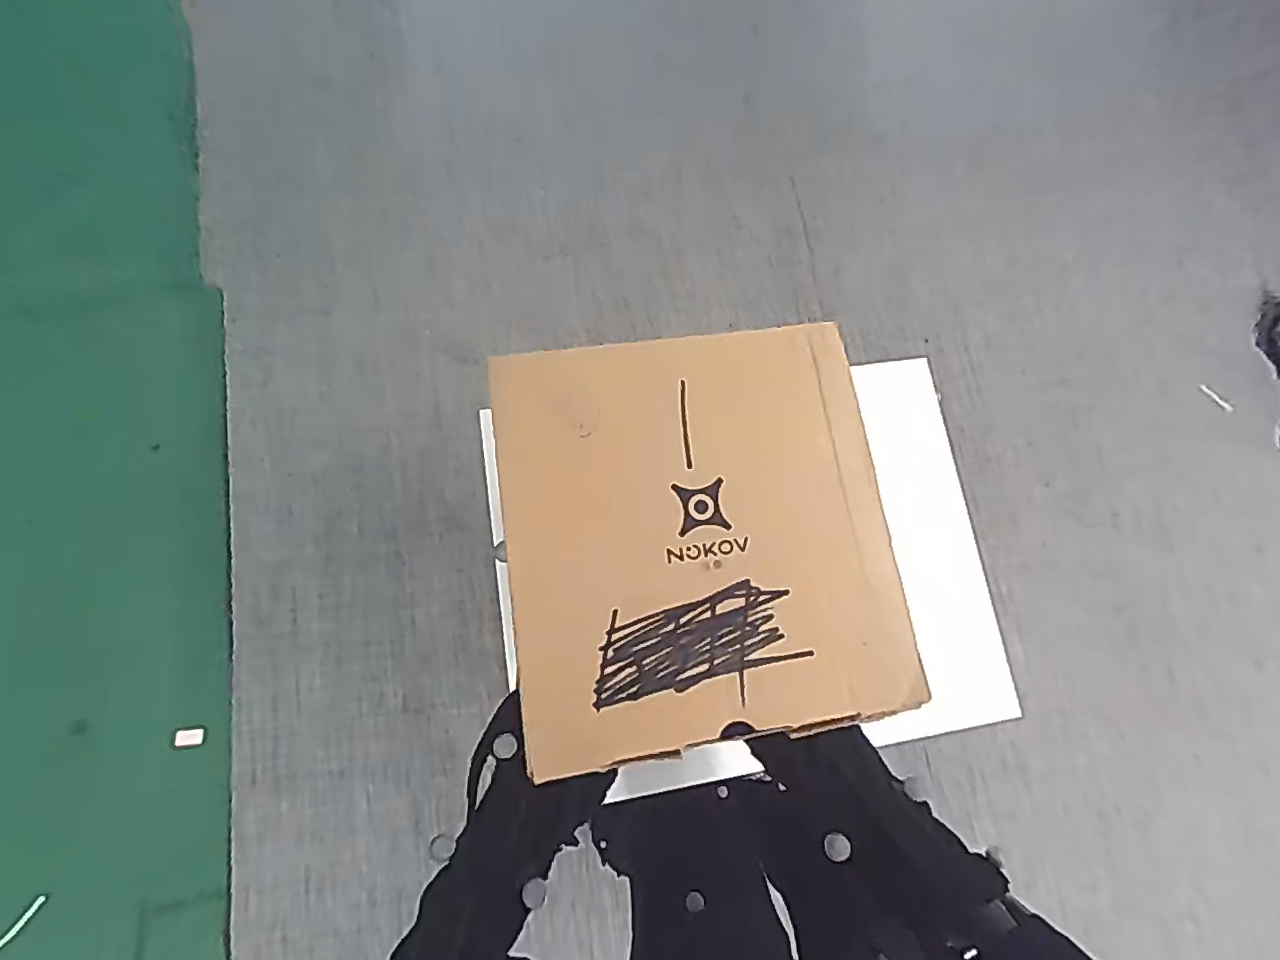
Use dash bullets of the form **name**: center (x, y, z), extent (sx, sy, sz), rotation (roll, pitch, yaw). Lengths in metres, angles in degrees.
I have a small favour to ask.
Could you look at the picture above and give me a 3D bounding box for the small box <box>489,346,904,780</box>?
- **small box**: center (0.016, 0.044, 0.317), extent (0.168, 0.176, 0.179), rotation (-7, 78, -6)
